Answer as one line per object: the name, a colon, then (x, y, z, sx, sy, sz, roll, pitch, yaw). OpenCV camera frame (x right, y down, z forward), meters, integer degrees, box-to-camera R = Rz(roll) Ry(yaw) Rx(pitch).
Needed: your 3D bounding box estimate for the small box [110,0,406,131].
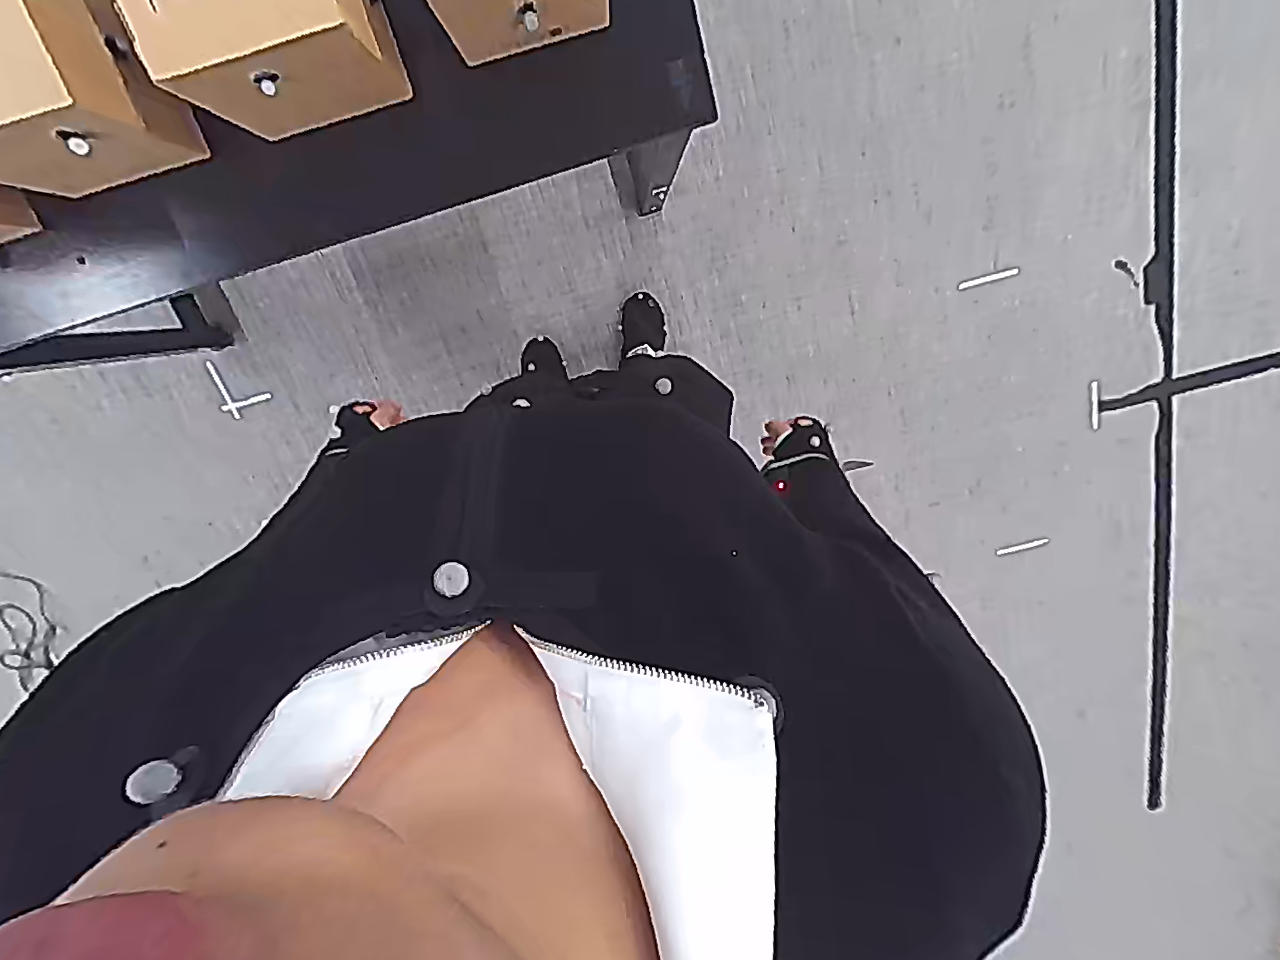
small box: (-0.354, -0.456, 0.501, 0.179, 0.176, 0.168, -15, 108, 2)

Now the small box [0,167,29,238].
small box: (-0.796, -0.327, 0.527, 0.168, 0.176, 0.179, -16, 108, 4)

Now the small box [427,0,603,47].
small box: (-0.131, -0.530, 0.485, 0.168, 0.176, 0.179, -14, 108, 2)
